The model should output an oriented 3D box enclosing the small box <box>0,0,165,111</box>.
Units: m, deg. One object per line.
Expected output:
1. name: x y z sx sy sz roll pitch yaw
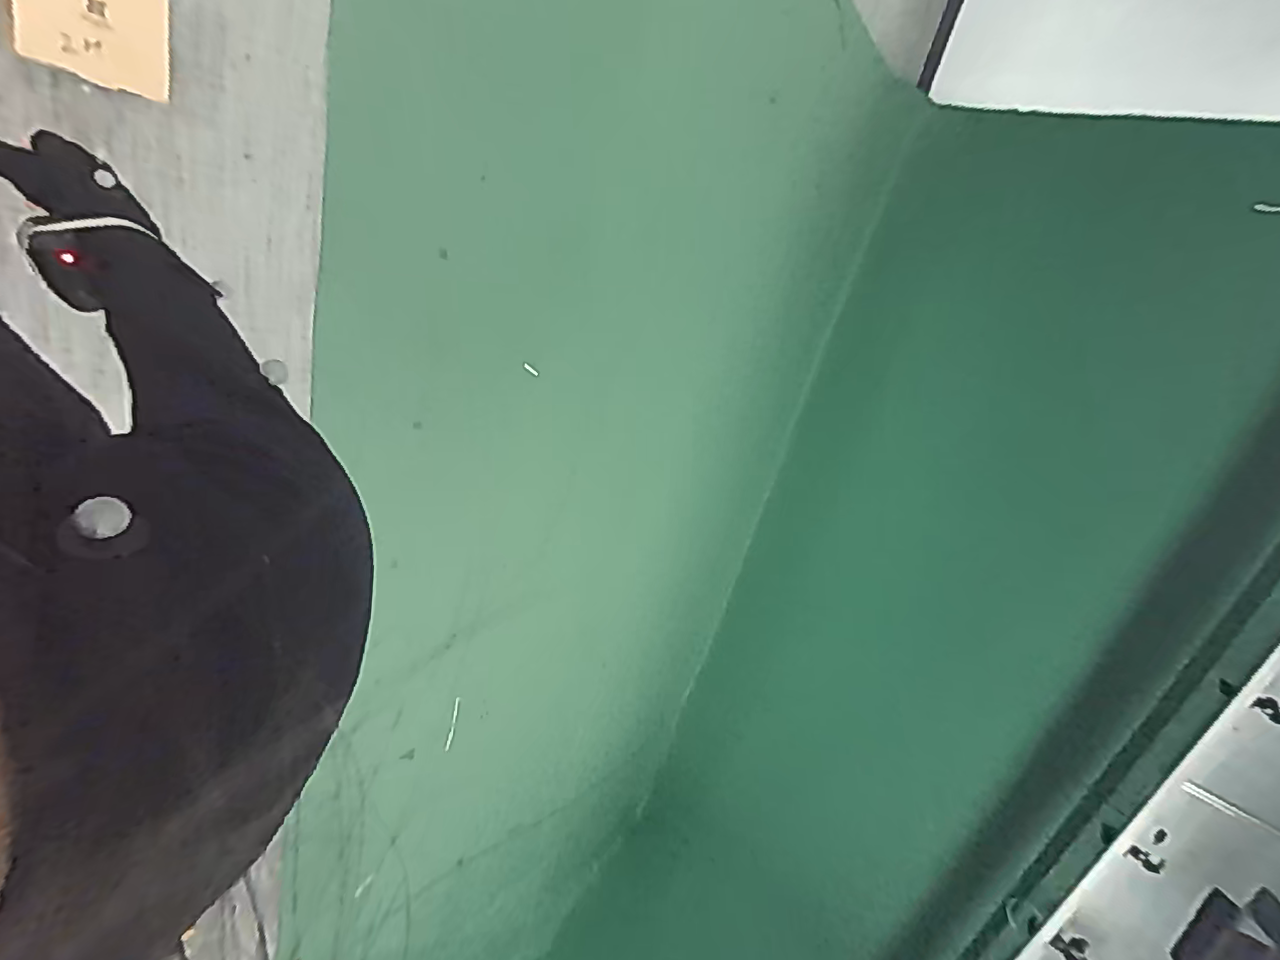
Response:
1. small box: -0.861 -0.703 0.832 0.168 0.176 0.179 -8 120 -51
